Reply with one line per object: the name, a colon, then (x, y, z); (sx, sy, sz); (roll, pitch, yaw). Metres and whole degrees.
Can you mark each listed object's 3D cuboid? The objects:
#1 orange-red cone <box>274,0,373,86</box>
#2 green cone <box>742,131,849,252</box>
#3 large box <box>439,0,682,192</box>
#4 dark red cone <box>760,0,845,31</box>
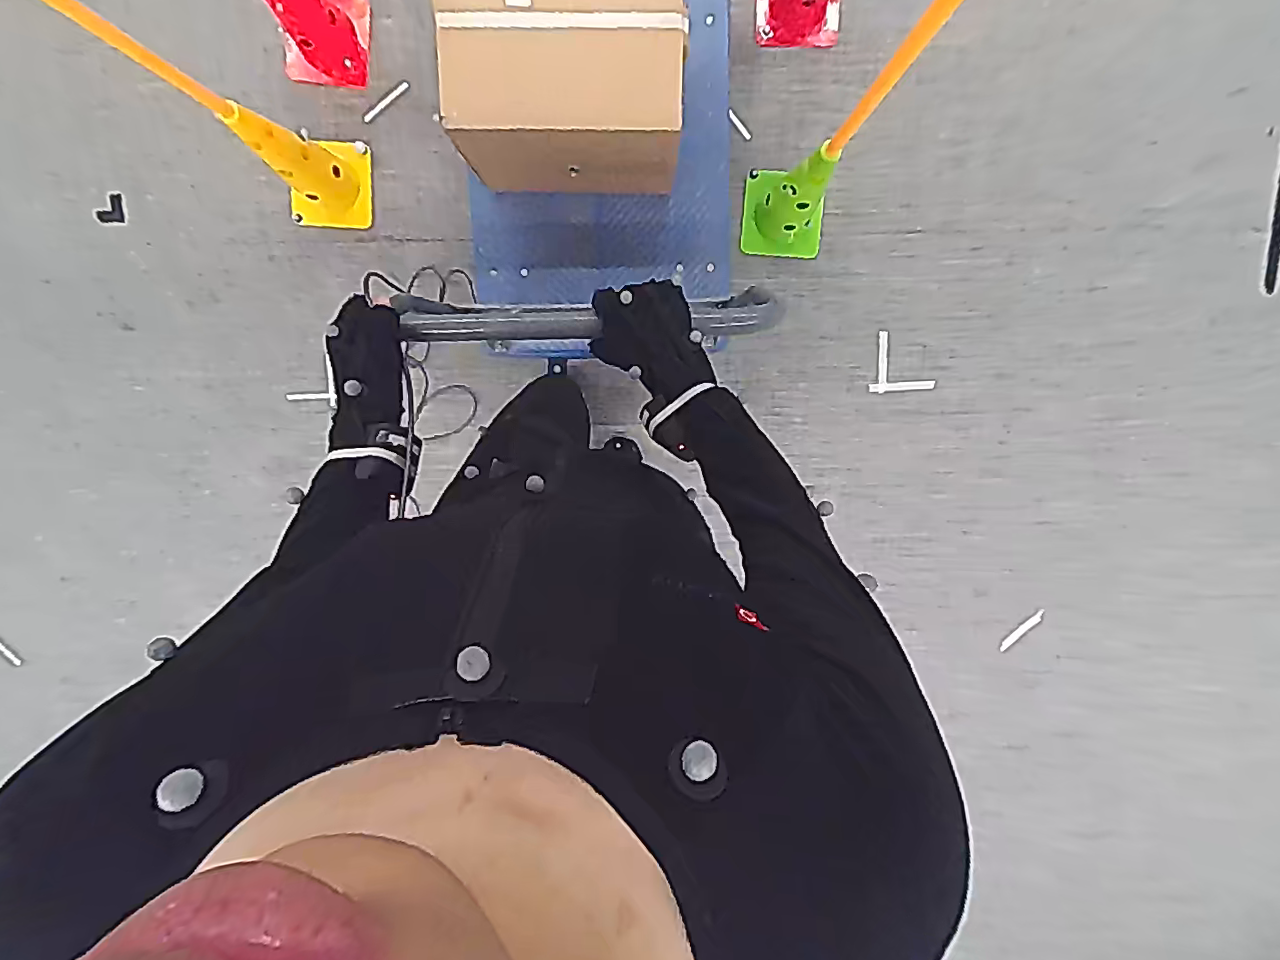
orange-red cone: (-0.747, -1.046, 1.135); (0.198, 0.360, 0.199); (7, 97, -2)
green cone: (0.365, -0.656, 1.190); (0.202, 0.368, 0.200); (3, 99, -2)
large box: (-0.127, -0.764, 1.031); (0.408, 0.320, 0.320); (0, 100, 1)
dark red cone: (0.384, -1.133, 1.098); (0.201, 0.394, 0.202); (0, 99, -2)
